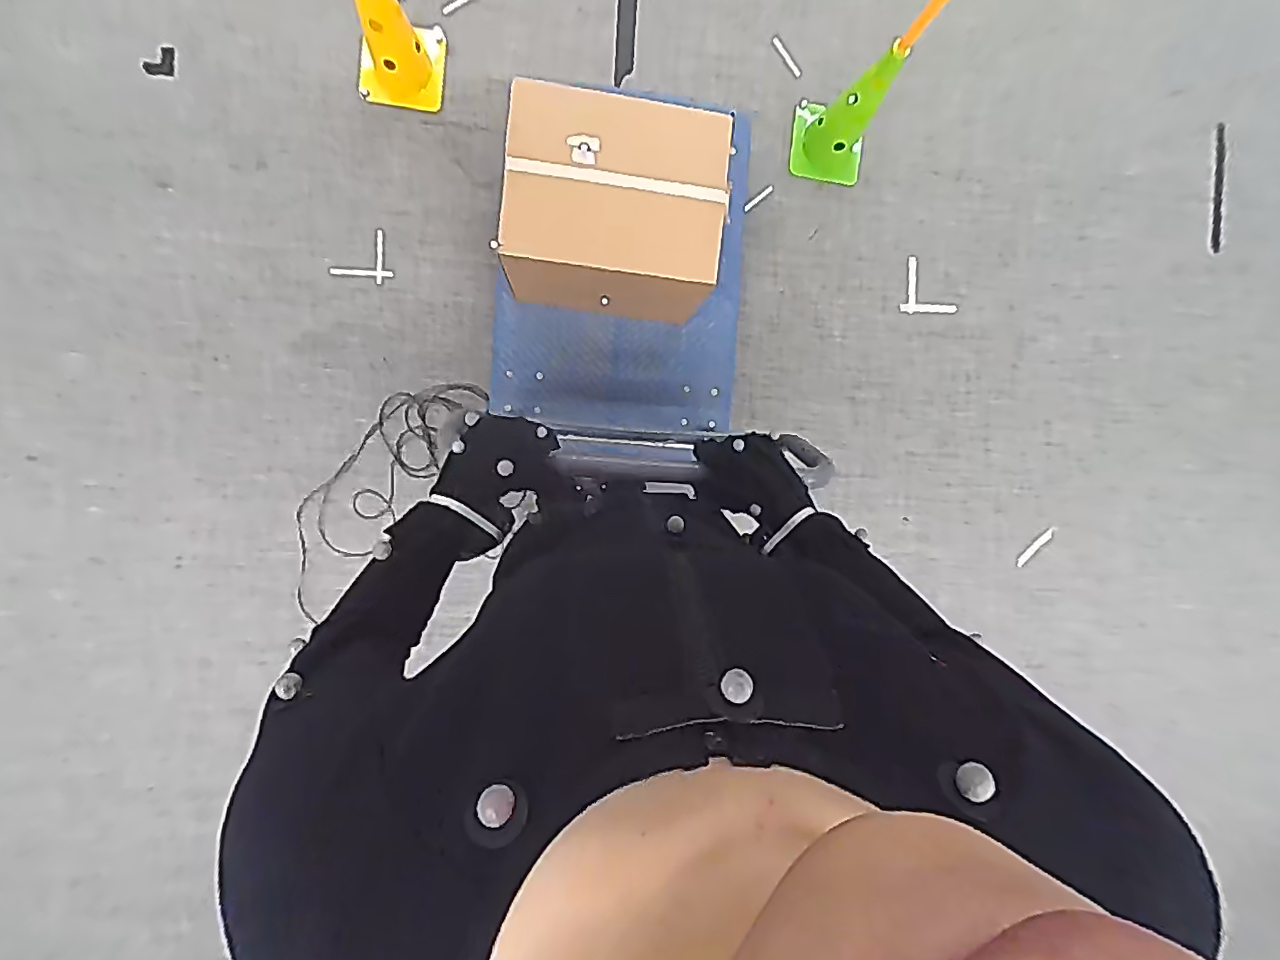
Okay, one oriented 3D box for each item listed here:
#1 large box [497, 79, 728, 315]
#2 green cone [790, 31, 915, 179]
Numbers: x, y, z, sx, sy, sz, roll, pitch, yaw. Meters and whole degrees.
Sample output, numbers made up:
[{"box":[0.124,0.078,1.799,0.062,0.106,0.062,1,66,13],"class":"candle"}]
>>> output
[{"box":[-0.060,-0.551,1.128,0.408,0.320,0.320,6,92,-6],"class":"large box"},{"box":[0.540,-0.941,1.328,0.202,0.368,0.200,6,92,-8],"class":"green cone"}]
